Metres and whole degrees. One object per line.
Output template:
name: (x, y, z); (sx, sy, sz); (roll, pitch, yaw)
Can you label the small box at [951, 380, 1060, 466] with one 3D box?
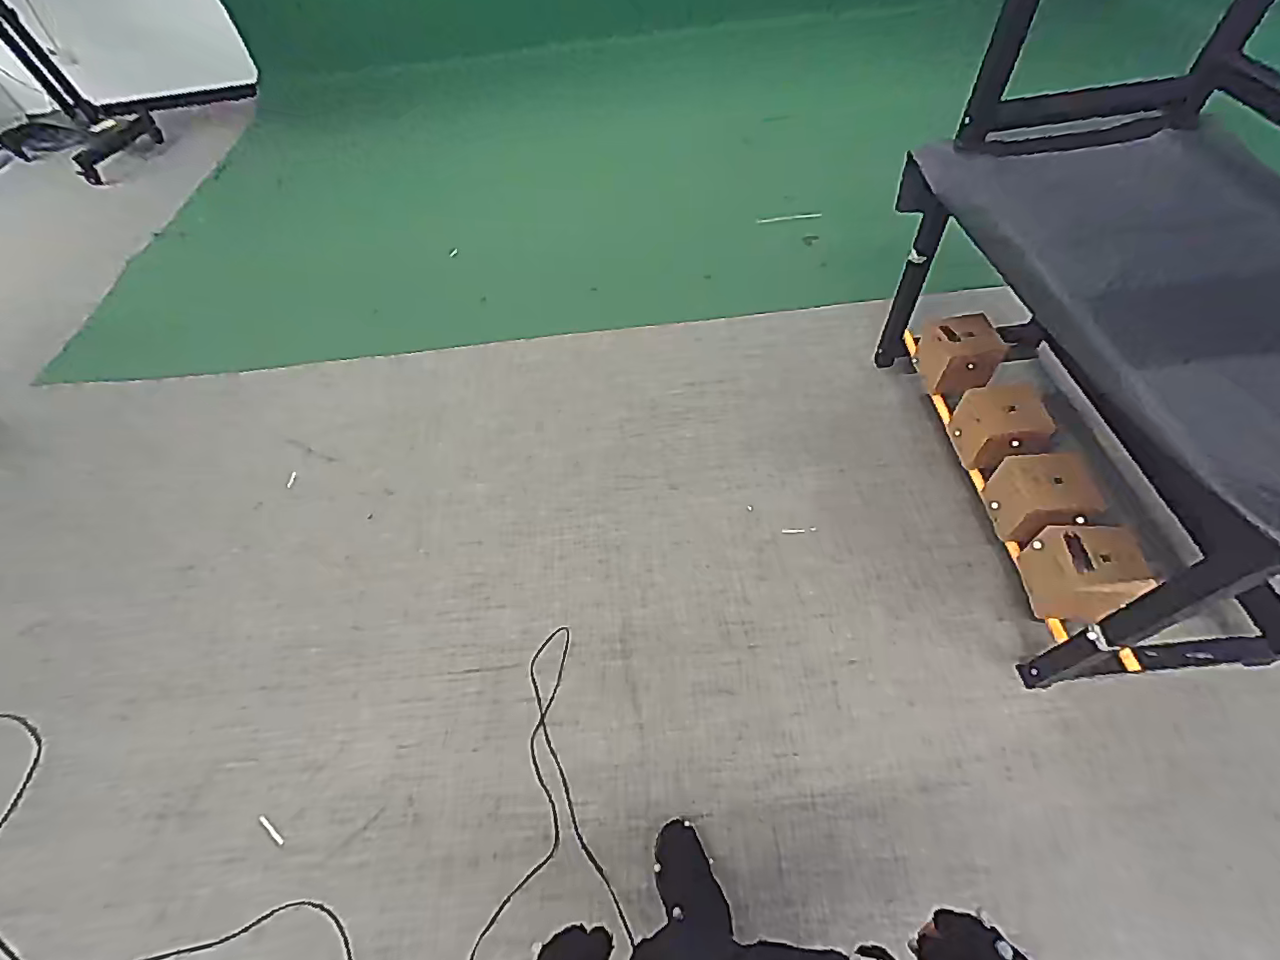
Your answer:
small box: (1.020, -0.157, 1.526); (0.179, 0.176, 0.168); (-6, 56, 5)
